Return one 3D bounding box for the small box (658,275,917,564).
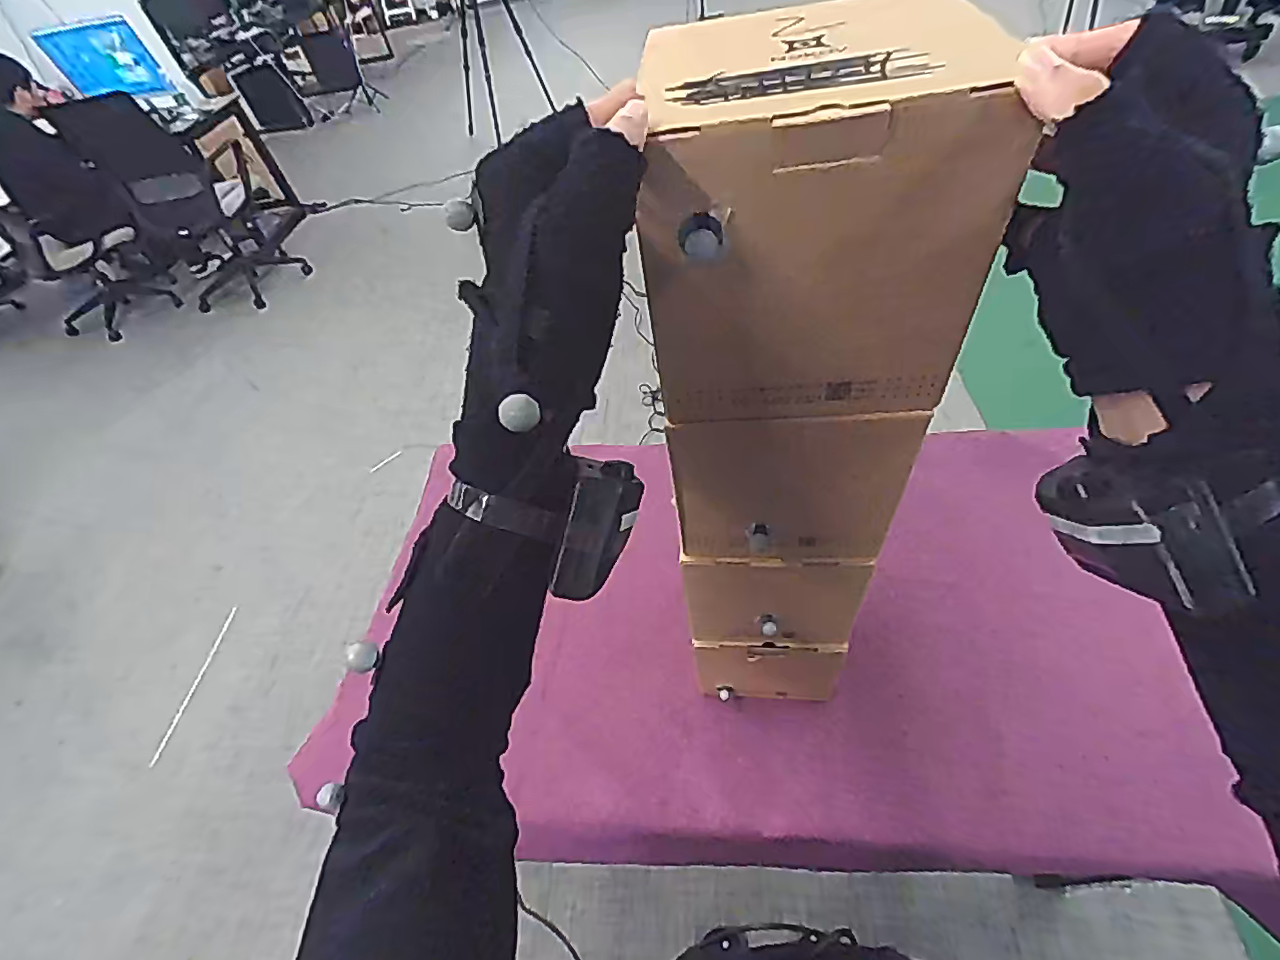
[{"bbox_3d":[0.110,-0.048,0.460,0.168,0.176,0.179,-1,50,10],"label":"small box"}]

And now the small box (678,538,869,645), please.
[{"bbox_3d":[0.133,0.058,0.581,0.168,0.176,0.179,-1,51,10],"label":"small box"}]

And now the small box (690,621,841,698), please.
[{"bbox_3d":[0.157,0.169,0.700,0.168,0.176,0.179,-1,50,10],"label":"small box"}]
